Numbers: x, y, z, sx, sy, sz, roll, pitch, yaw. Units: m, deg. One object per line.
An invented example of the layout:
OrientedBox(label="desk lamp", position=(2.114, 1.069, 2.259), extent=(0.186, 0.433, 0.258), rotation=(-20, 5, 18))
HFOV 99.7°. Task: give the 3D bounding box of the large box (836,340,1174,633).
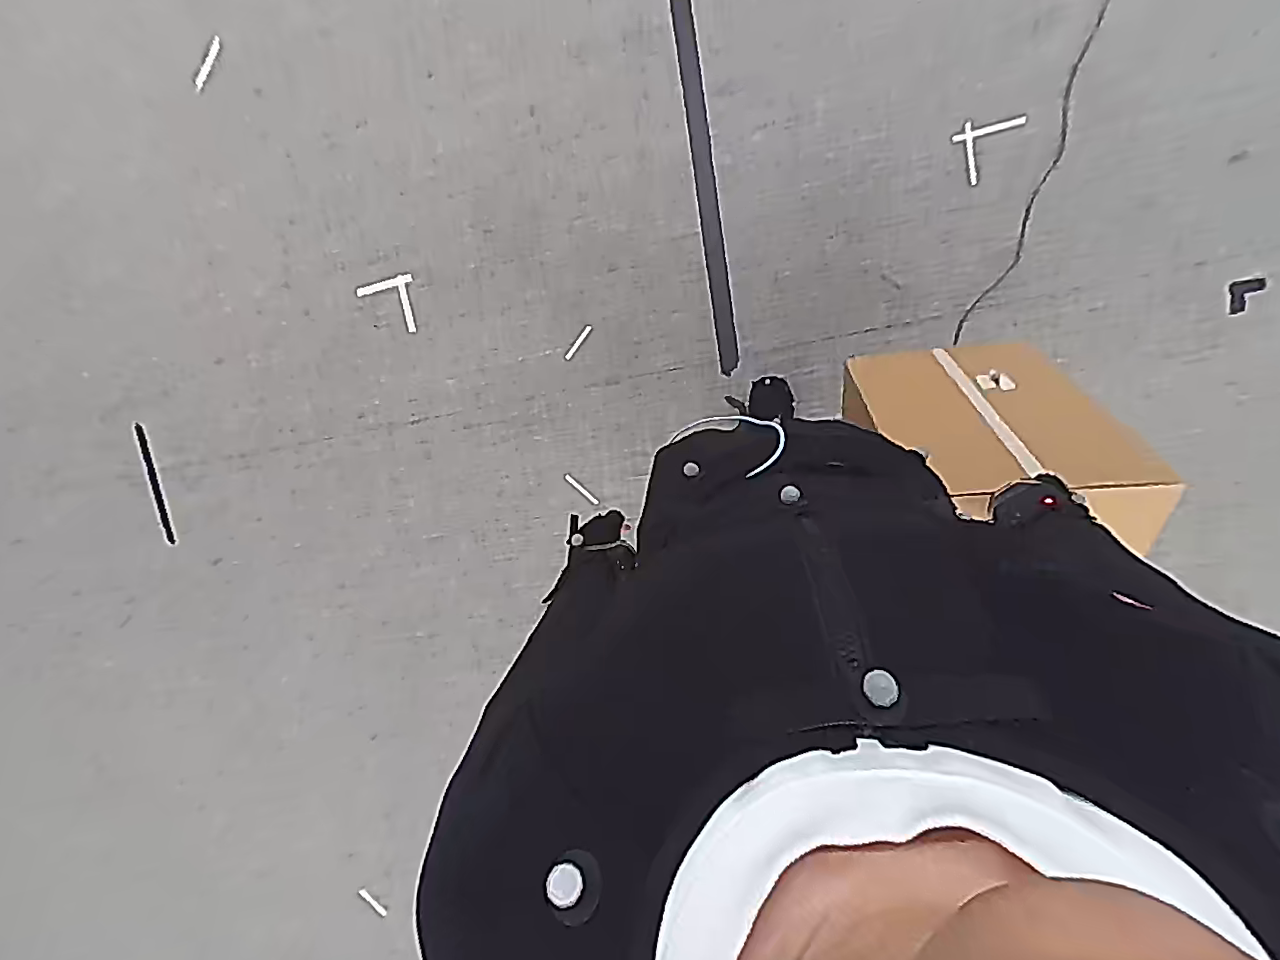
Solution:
OrientedBox(label="large box", position=(0.543, 0.001, 0.925), extent=(0.320, 0.408, 0.320), rotation=(-4, 128, 8))
